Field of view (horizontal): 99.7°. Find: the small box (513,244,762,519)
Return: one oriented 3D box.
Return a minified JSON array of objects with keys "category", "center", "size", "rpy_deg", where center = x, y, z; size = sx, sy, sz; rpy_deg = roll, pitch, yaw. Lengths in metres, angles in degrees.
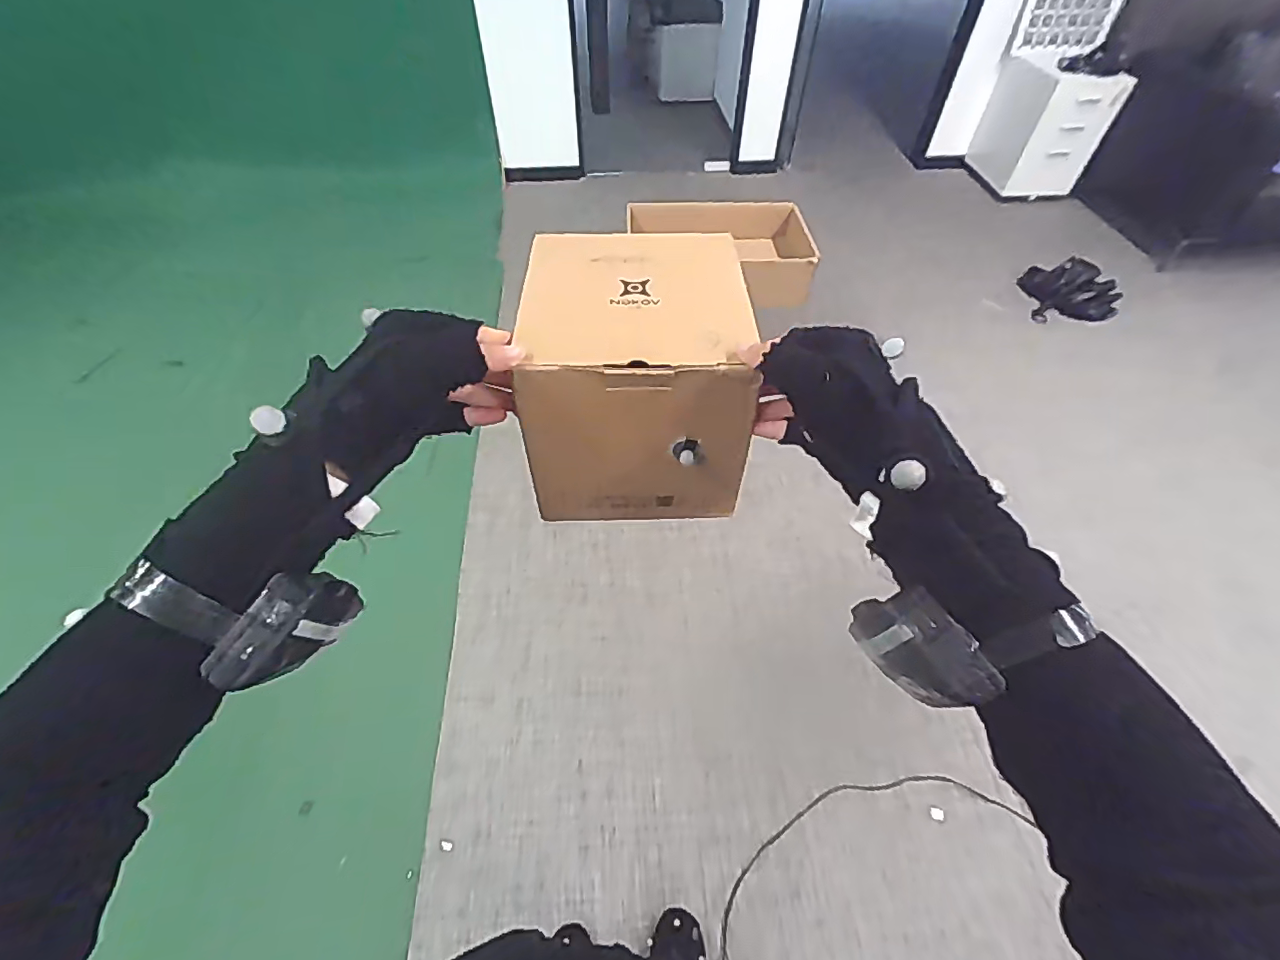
[{"category":"small box","center":[-0.003,-0.078,0.461],"size":[0.168,0.176,0.179],"rpy_deg":[-1,48,-2]}]
